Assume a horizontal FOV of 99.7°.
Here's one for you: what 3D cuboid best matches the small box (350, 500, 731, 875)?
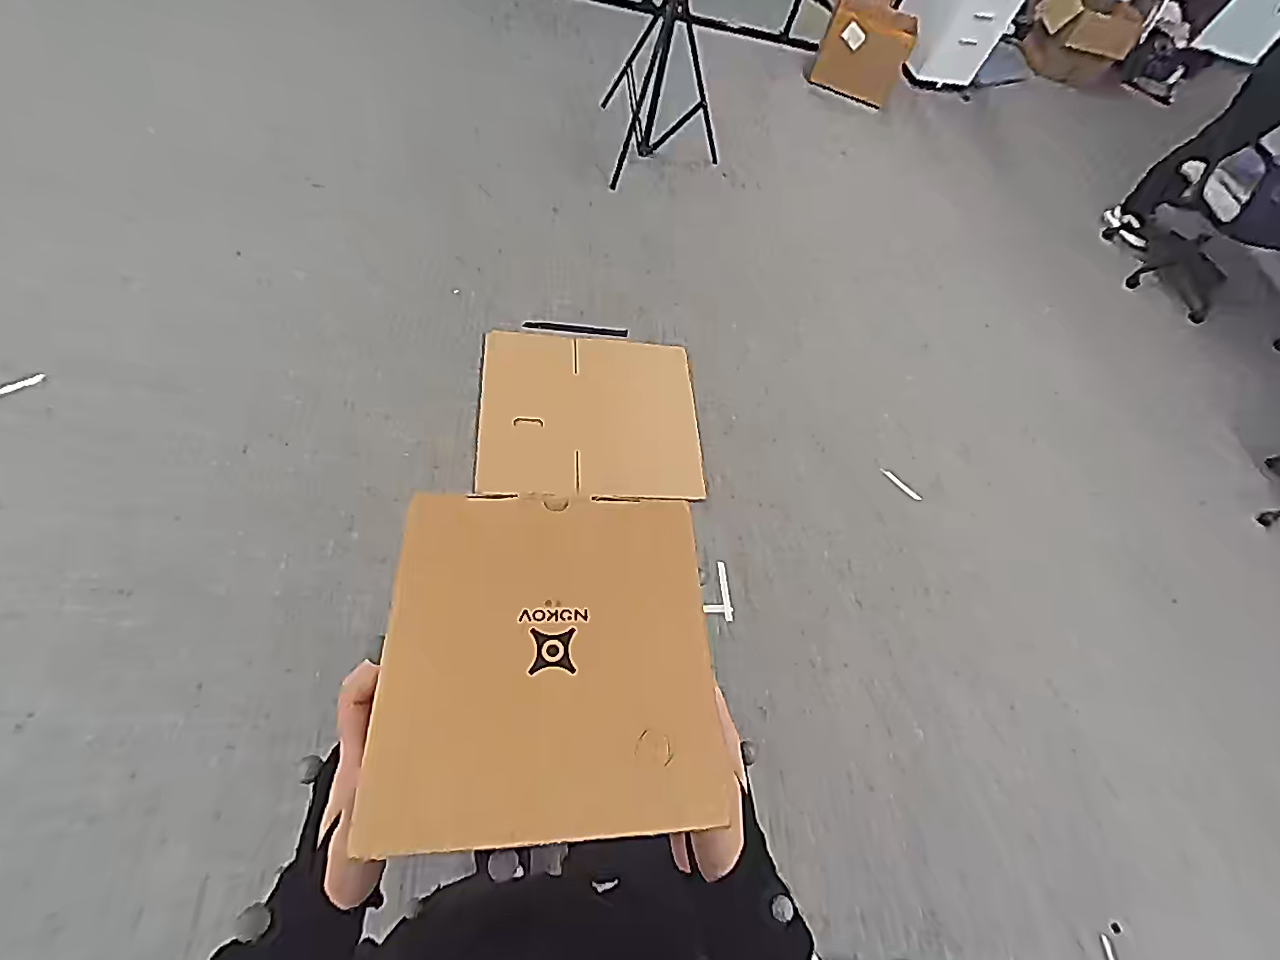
[{"bbox_3d":[-0.056,0.129,0.340,0.168,0.176,0.179,1,56,-10],"label":"small box"}]
